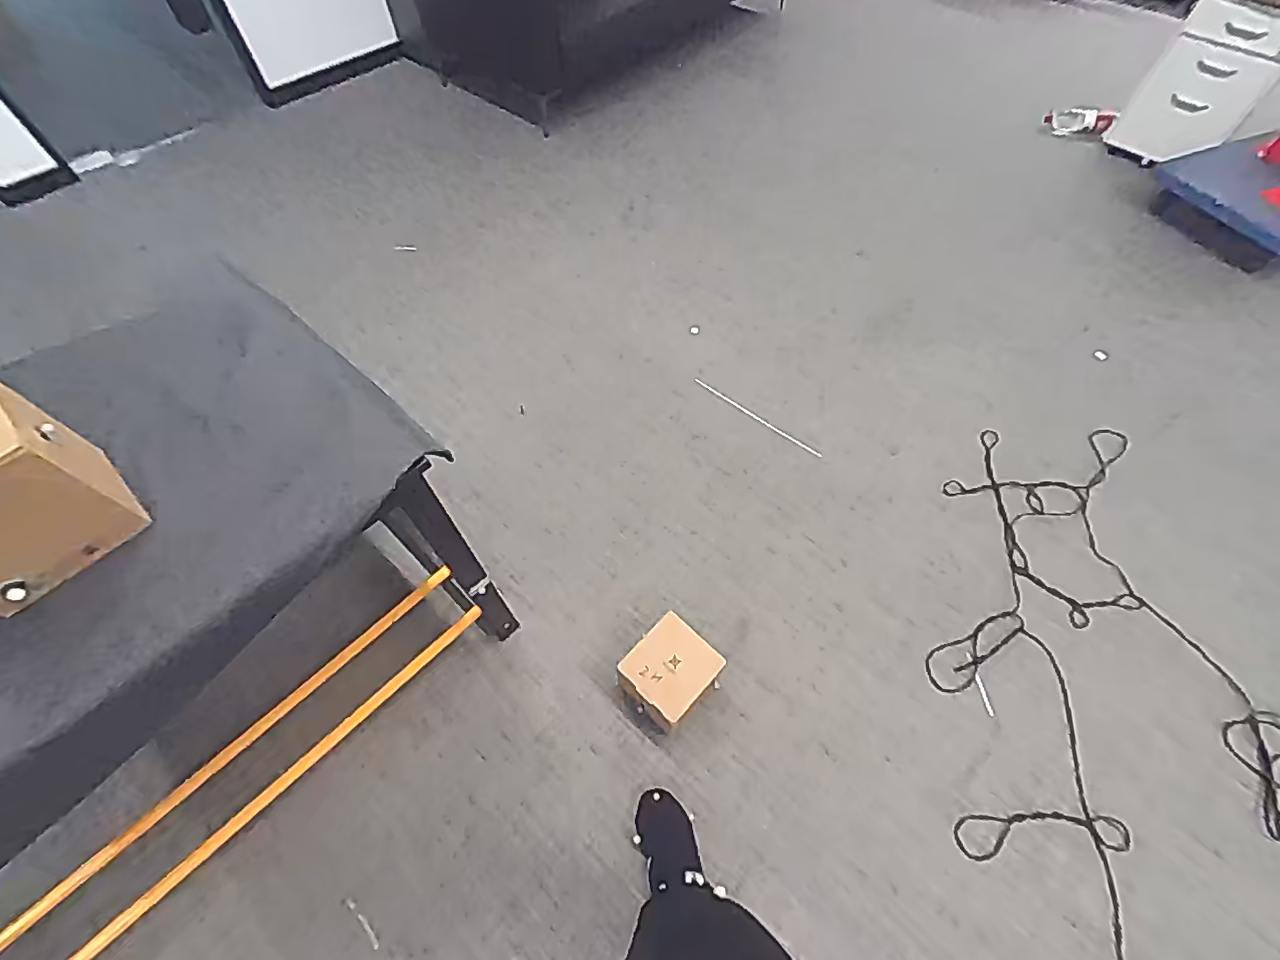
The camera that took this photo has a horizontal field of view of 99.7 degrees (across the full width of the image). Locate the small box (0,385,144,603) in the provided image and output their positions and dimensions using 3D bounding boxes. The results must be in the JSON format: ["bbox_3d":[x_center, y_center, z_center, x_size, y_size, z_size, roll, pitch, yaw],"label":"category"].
[{"bbox_3d":[-0.726,0.016,0.607,0.179,0.176,0.168,36,64,22],"label":"small box"}]

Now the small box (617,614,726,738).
[{"bbox_3d":[0.063,0.437,1.199,0.168,0.176,0.179,38,64,23],"label":"small box"}]
